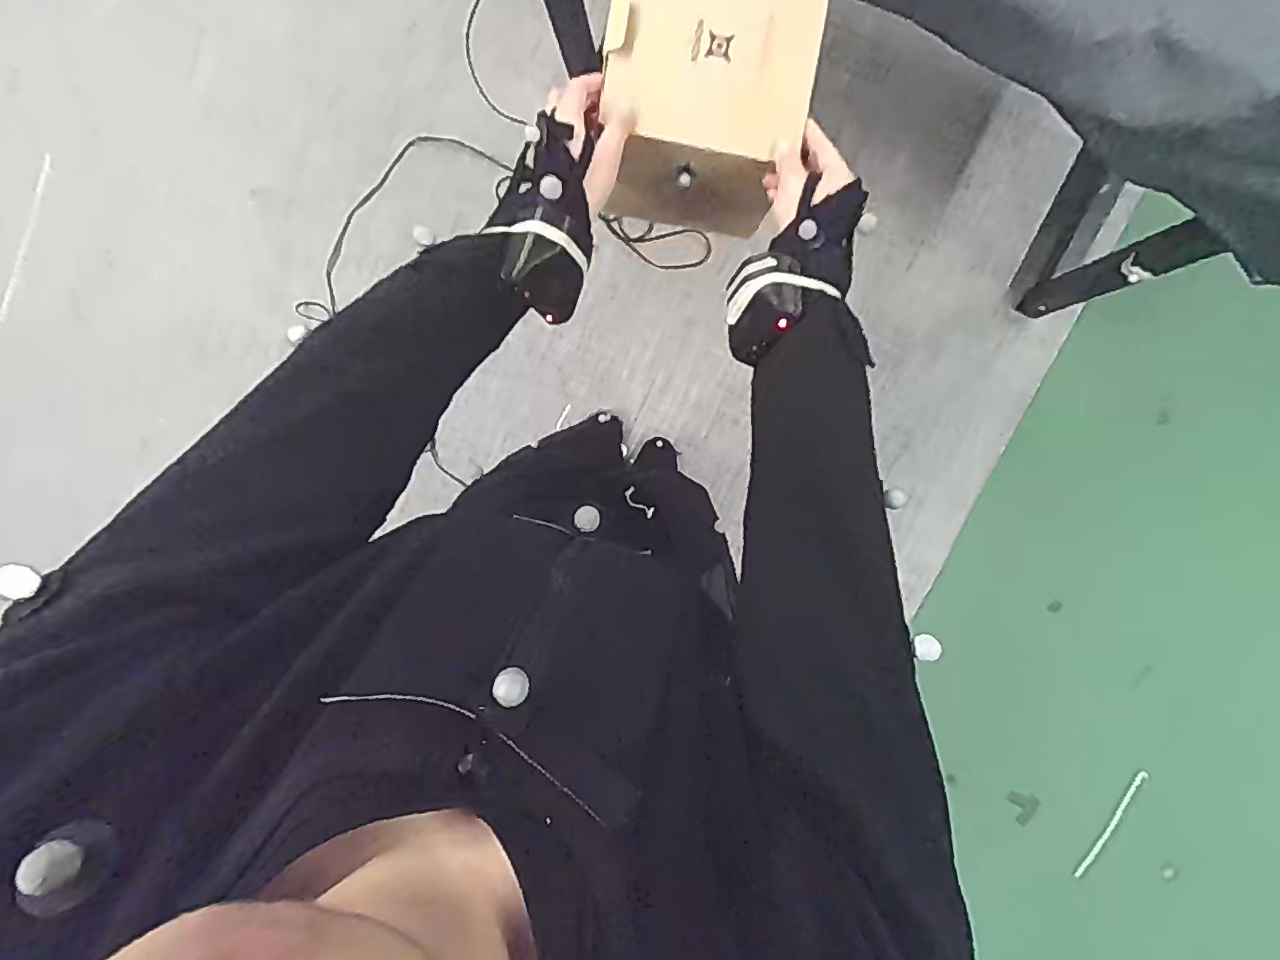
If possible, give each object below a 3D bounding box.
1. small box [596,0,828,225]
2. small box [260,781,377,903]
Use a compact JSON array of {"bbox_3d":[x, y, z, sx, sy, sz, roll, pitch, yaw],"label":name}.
[{"bbox_3d":[0.058,-0.369,0.520,0.179,0.176,0.168,9,94,-4],"label":"small box"},{"bbox_3d":[-0.822,0.926,1.401,0.179,0.176,0.168,24,96,3],"label":"small box"}]
